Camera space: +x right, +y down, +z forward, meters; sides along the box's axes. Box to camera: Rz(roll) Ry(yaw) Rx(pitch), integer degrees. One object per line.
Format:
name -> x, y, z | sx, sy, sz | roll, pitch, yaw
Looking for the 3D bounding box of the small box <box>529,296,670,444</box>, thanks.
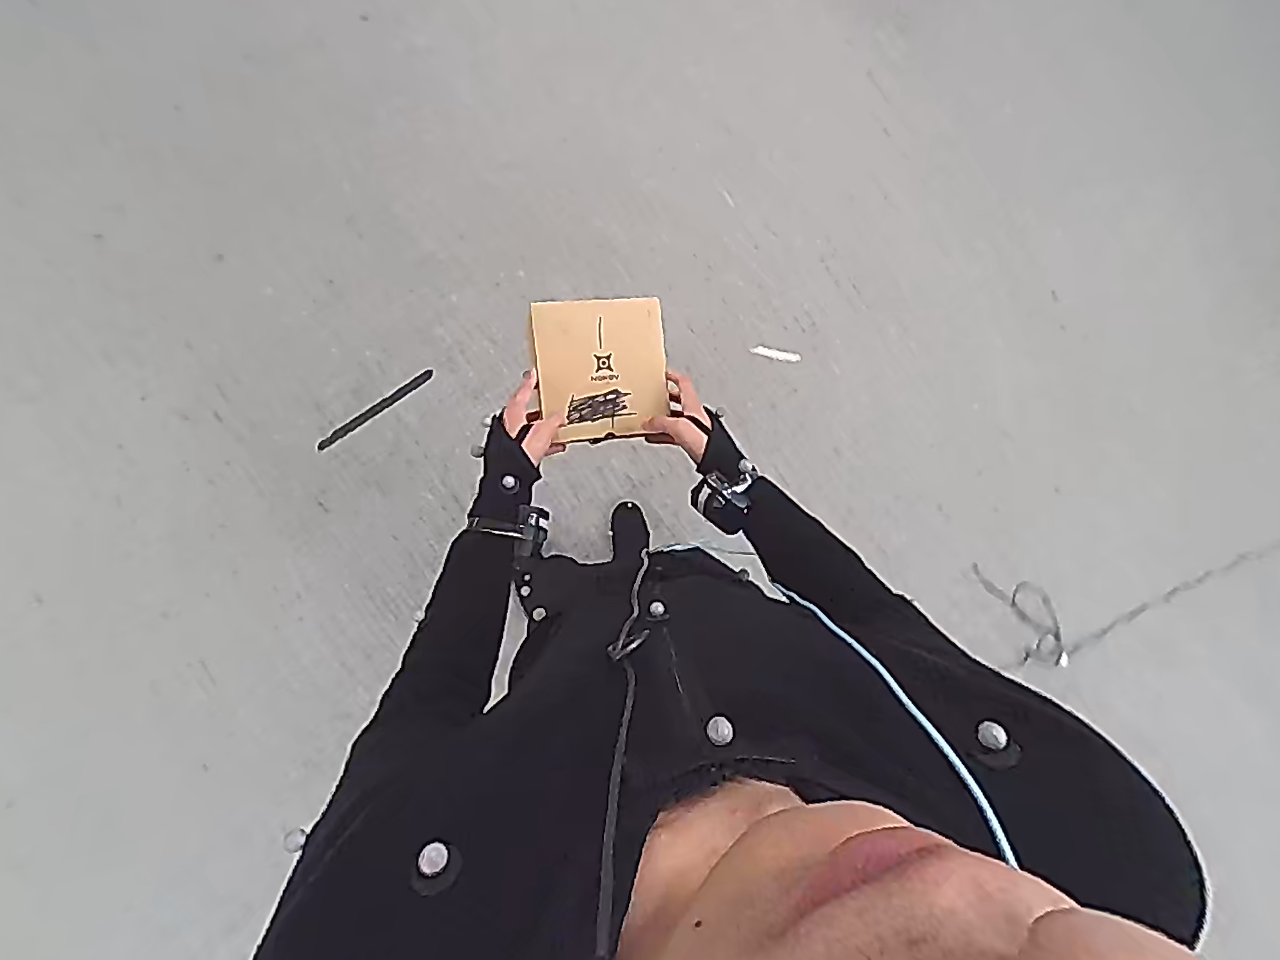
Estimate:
small box -> -0.062, -0.145, 0.751 | 0.168, 0.176, 0.179 | -6, 95, -13
